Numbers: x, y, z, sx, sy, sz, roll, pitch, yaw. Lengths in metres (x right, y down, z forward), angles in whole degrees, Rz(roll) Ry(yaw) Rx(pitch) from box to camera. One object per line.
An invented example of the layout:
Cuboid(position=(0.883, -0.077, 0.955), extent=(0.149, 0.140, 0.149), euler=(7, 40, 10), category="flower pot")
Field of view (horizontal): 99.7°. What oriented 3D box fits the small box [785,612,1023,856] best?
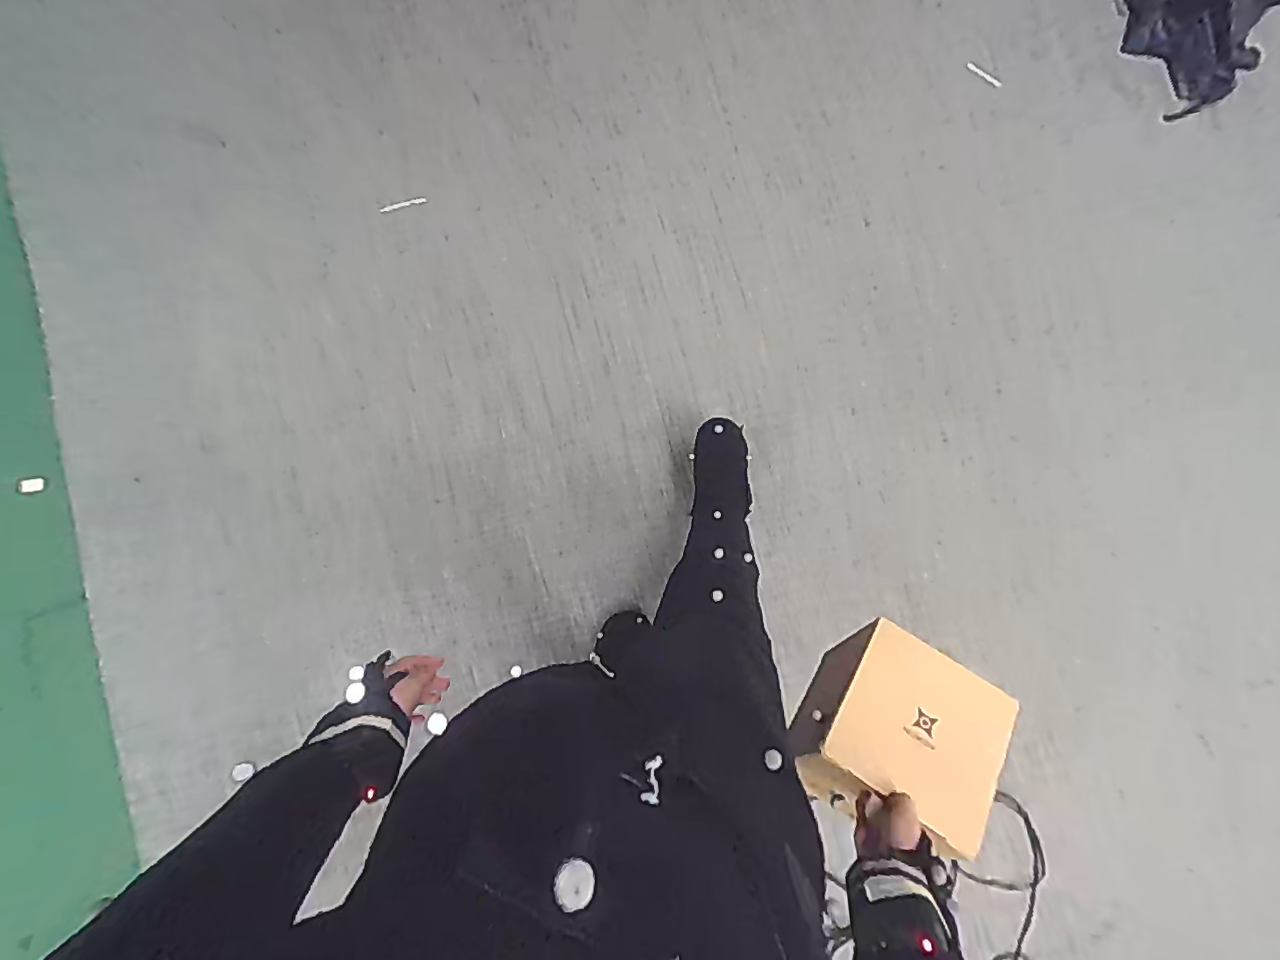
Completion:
Cuboid(position=(0.292, 0.290, 0.629), extent=(0.168, 0.176, 0.179), euler=(32, 63, 13), category="small box")
